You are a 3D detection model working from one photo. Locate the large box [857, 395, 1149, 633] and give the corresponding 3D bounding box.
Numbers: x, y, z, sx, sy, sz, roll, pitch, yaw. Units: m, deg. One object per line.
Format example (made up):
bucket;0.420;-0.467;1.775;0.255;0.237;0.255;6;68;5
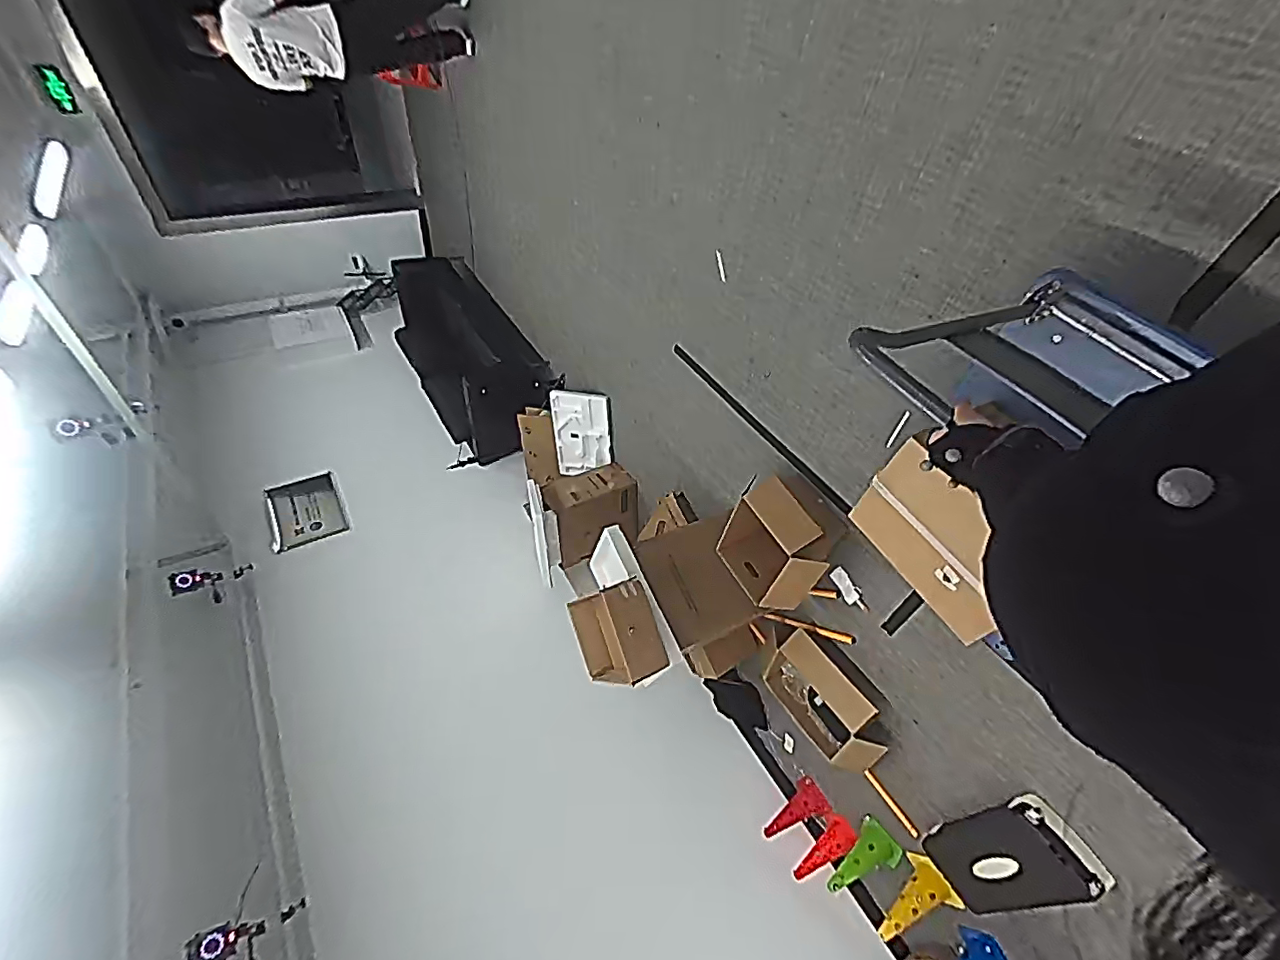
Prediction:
large box;0.815;0.067;1.266;0.408;0.320;0.320;54;151;28
